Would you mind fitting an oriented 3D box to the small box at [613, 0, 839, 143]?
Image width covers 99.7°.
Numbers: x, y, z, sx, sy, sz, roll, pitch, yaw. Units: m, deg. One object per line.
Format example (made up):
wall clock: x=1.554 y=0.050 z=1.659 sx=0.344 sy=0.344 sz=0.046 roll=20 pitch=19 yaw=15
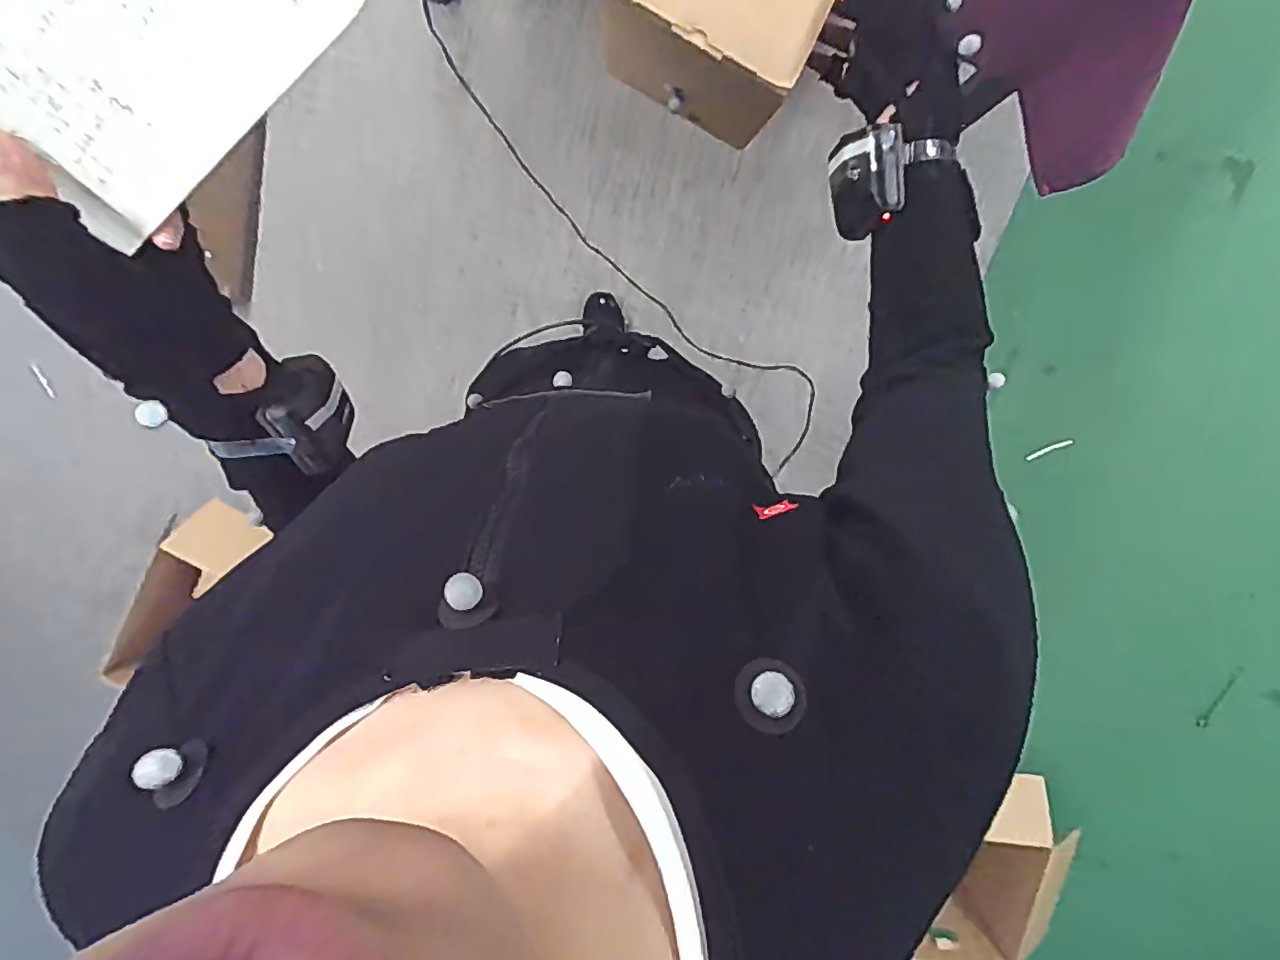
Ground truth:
small box: x=0.079 y=-0.434 z=0.464 sx=0.168 sy=0.176 sz=0.179 roll=24 pitch=106 yaw=-10
